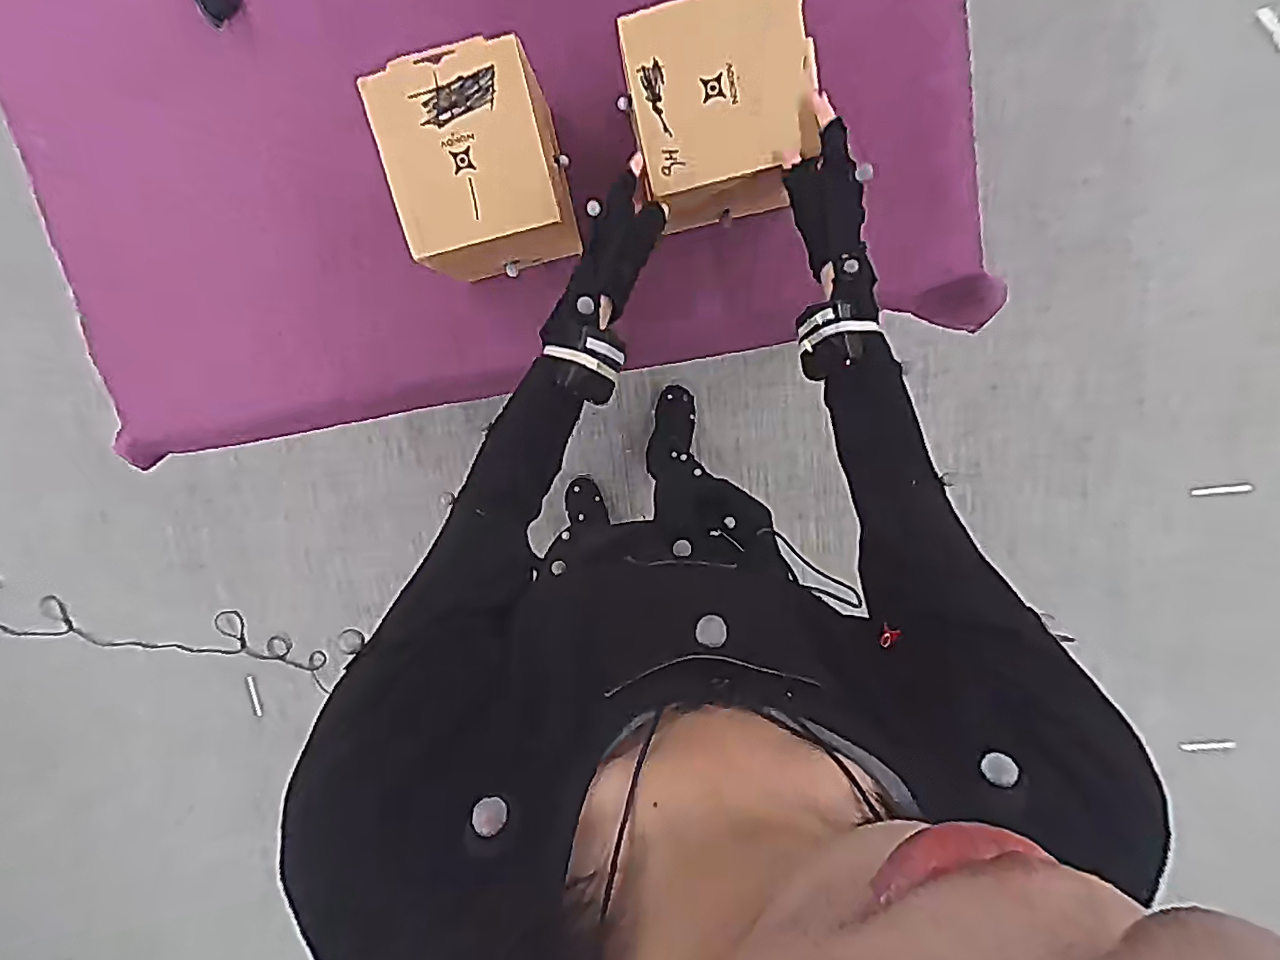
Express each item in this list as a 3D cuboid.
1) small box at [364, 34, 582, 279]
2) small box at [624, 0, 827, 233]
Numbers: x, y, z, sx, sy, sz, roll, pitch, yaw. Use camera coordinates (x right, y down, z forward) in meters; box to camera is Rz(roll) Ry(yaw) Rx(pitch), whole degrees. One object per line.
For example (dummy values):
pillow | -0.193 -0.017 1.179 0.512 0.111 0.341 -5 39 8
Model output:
small box | -0.173 -0.347 0.619 0.168 0.176 0.179 -12 102 5
small box | 0.086 -0.394 0.599 0.179 0.176 0.168 -12 101 5
